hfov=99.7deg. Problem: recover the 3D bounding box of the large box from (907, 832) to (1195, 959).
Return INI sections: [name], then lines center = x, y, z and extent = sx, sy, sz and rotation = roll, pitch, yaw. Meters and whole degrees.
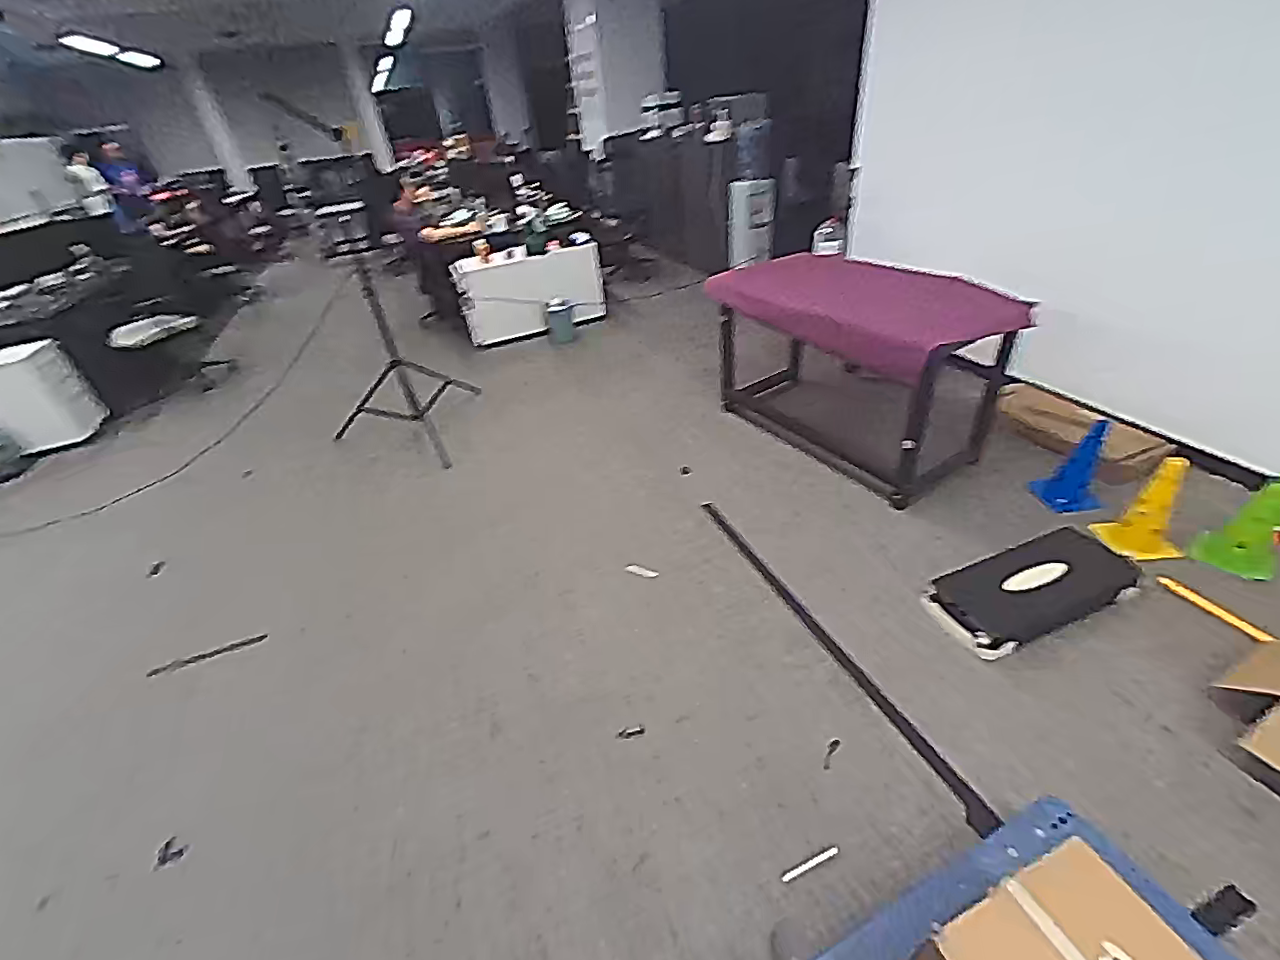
[large box]
center = 0.663, 0.847, 0.790
extent = 0.320, 0.320, 0.408
rotation = -19, 36, -16
